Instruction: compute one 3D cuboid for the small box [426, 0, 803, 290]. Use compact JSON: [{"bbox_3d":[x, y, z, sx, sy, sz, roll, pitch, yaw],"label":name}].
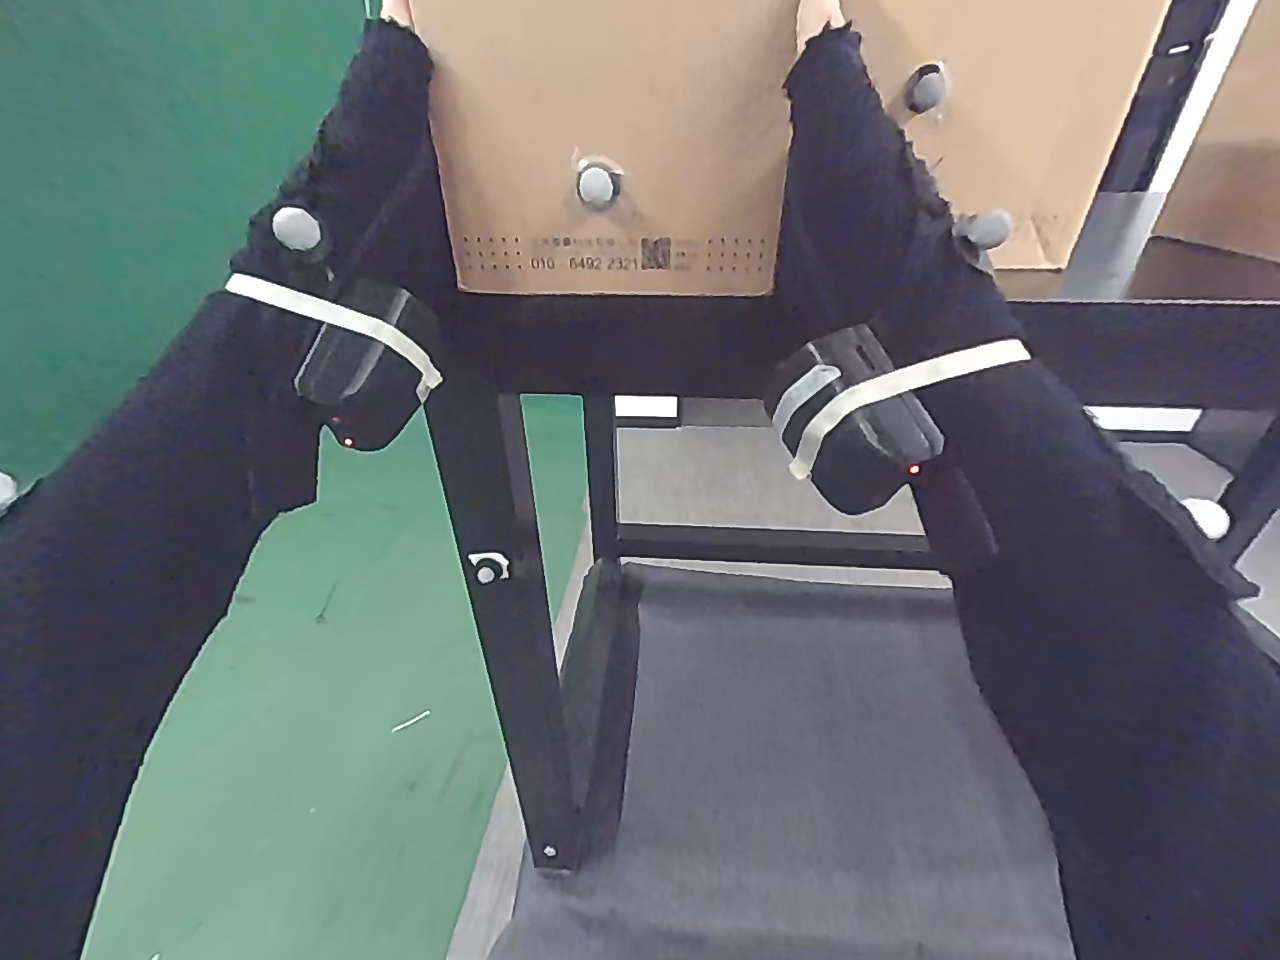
[{"bbox_3d":[-0.011,-0.217,0.310,0.168,0.176,0.179,1,33,2],"label":"small box"}]
